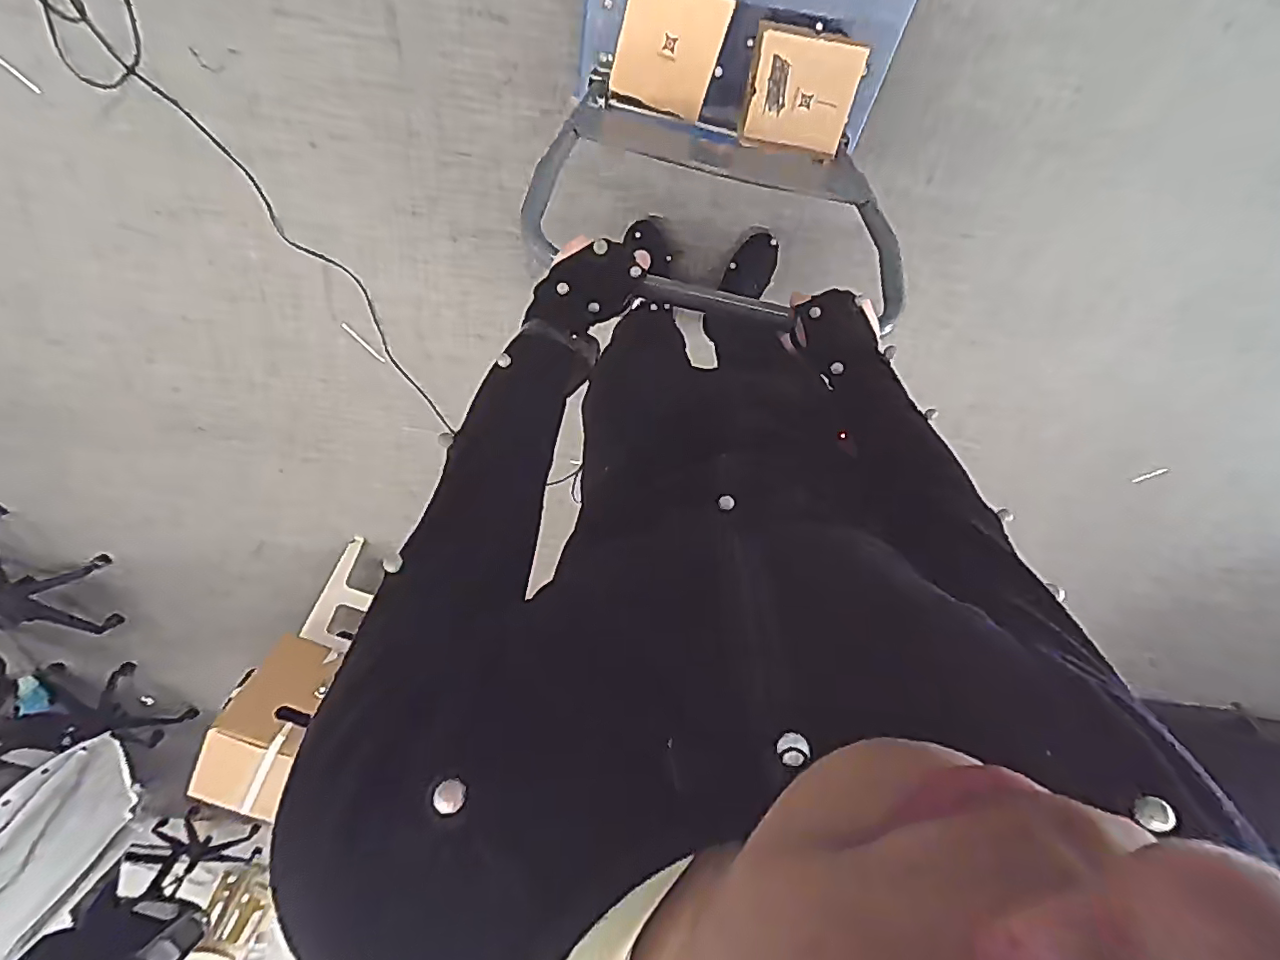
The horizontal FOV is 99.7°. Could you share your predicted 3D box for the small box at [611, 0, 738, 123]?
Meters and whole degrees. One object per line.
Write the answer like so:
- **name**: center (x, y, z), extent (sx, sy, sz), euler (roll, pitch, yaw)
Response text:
- **small box**: center (0.058, -0.771, 0.947), extent (0.168, 0.176, 0.179), euler (16, 135, -9)
